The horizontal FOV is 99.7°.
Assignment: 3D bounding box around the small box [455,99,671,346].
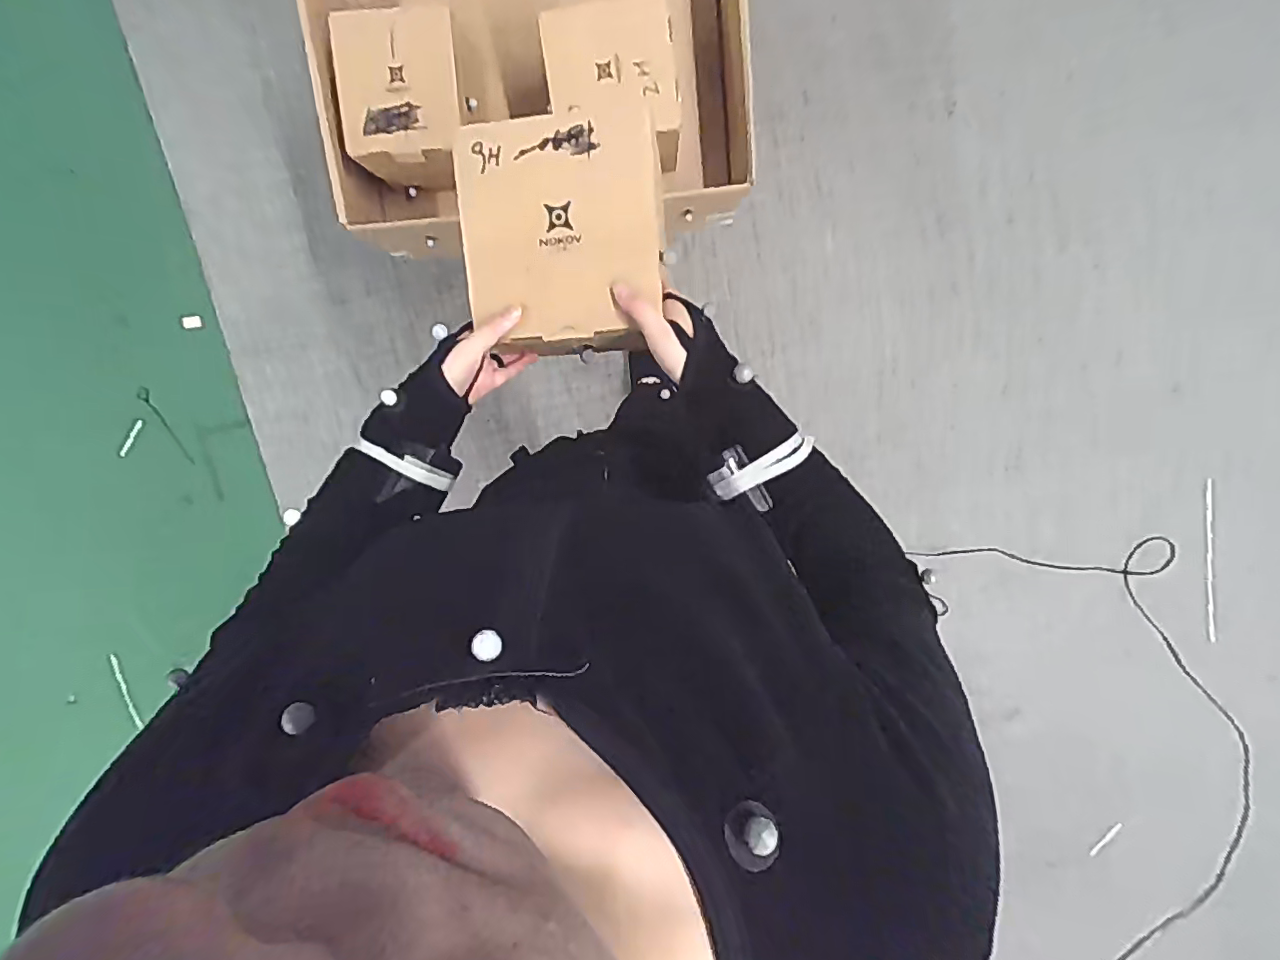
[{"bbox_3d":[-0.058,-0.226,0.526,0.168,0.176,0.179,-4,100,5],"label":"small box"}]
